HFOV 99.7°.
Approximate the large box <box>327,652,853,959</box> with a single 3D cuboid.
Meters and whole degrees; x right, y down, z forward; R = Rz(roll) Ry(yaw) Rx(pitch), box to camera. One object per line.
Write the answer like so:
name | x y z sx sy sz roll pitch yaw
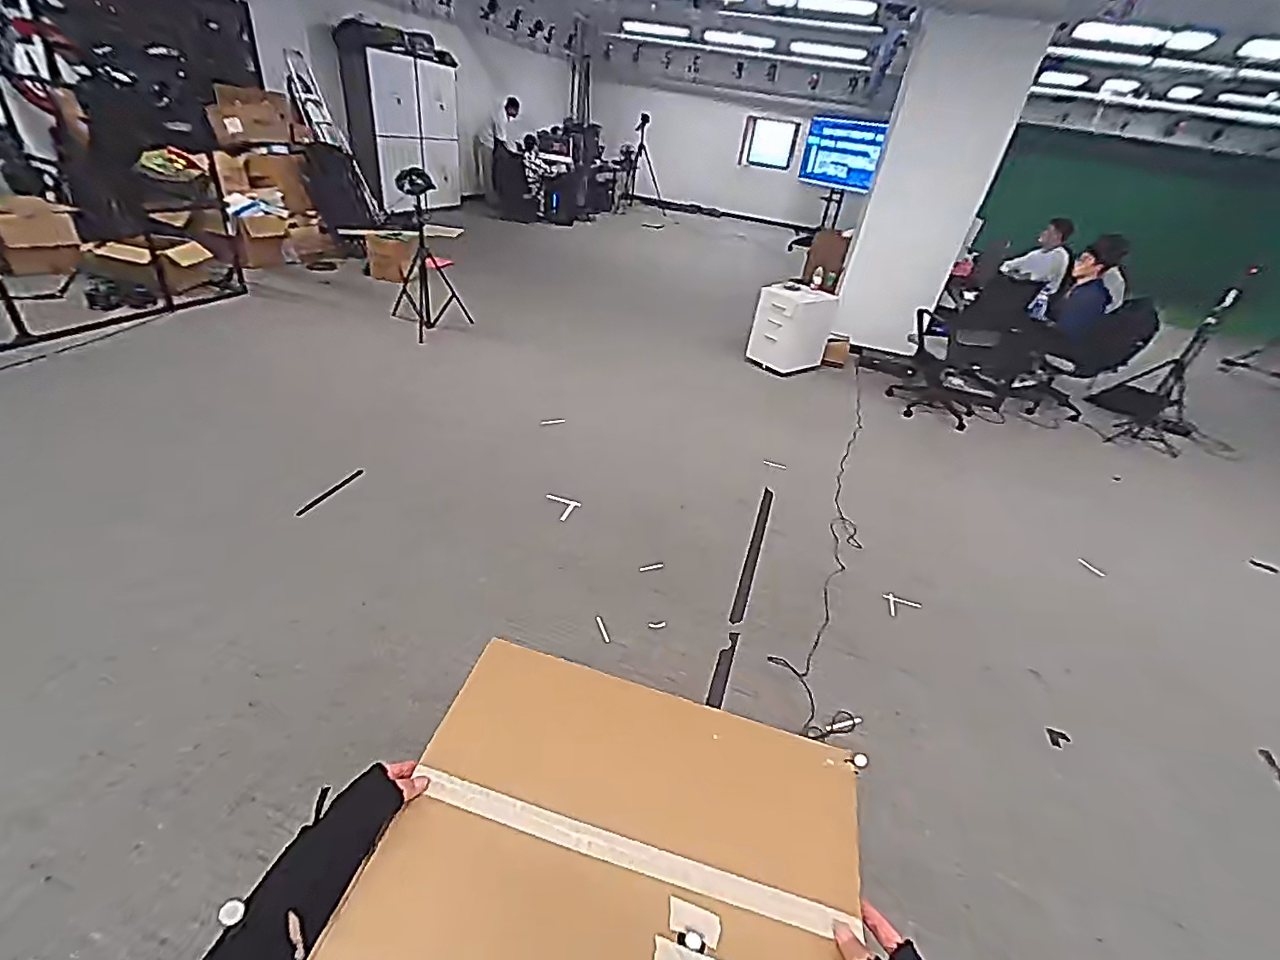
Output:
large box | -0.035 0.447 0.565 0.408 0.320 0.320 16 39 6
